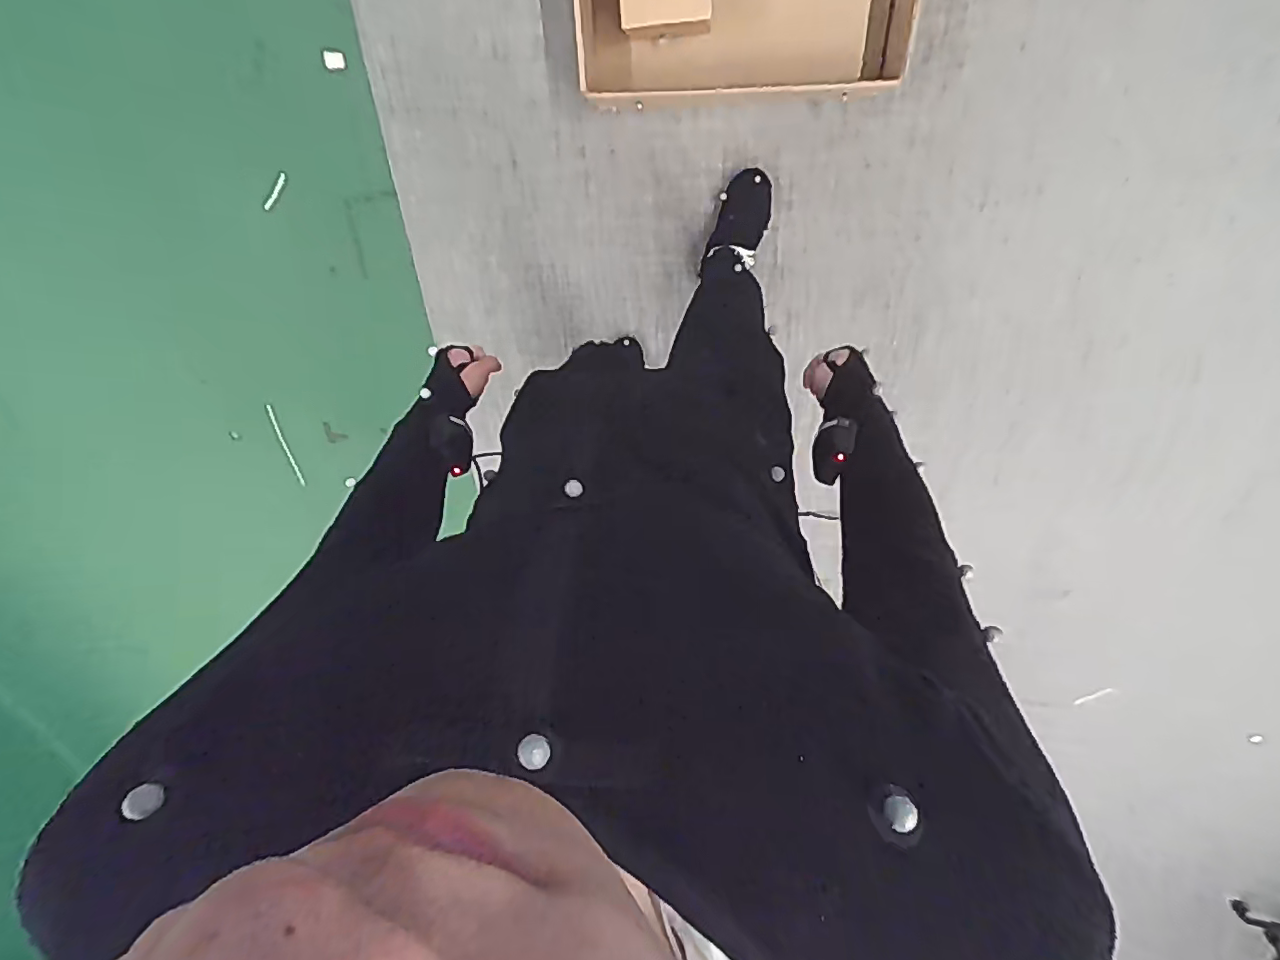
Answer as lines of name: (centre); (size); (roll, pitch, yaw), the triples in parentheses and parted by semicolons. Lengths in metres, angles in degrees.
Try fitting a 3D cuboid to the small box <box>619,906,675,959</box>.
small box: (0.028, 1.559, 1.792); (0.168, 0.176, 0.179); (1, 122, 8)
